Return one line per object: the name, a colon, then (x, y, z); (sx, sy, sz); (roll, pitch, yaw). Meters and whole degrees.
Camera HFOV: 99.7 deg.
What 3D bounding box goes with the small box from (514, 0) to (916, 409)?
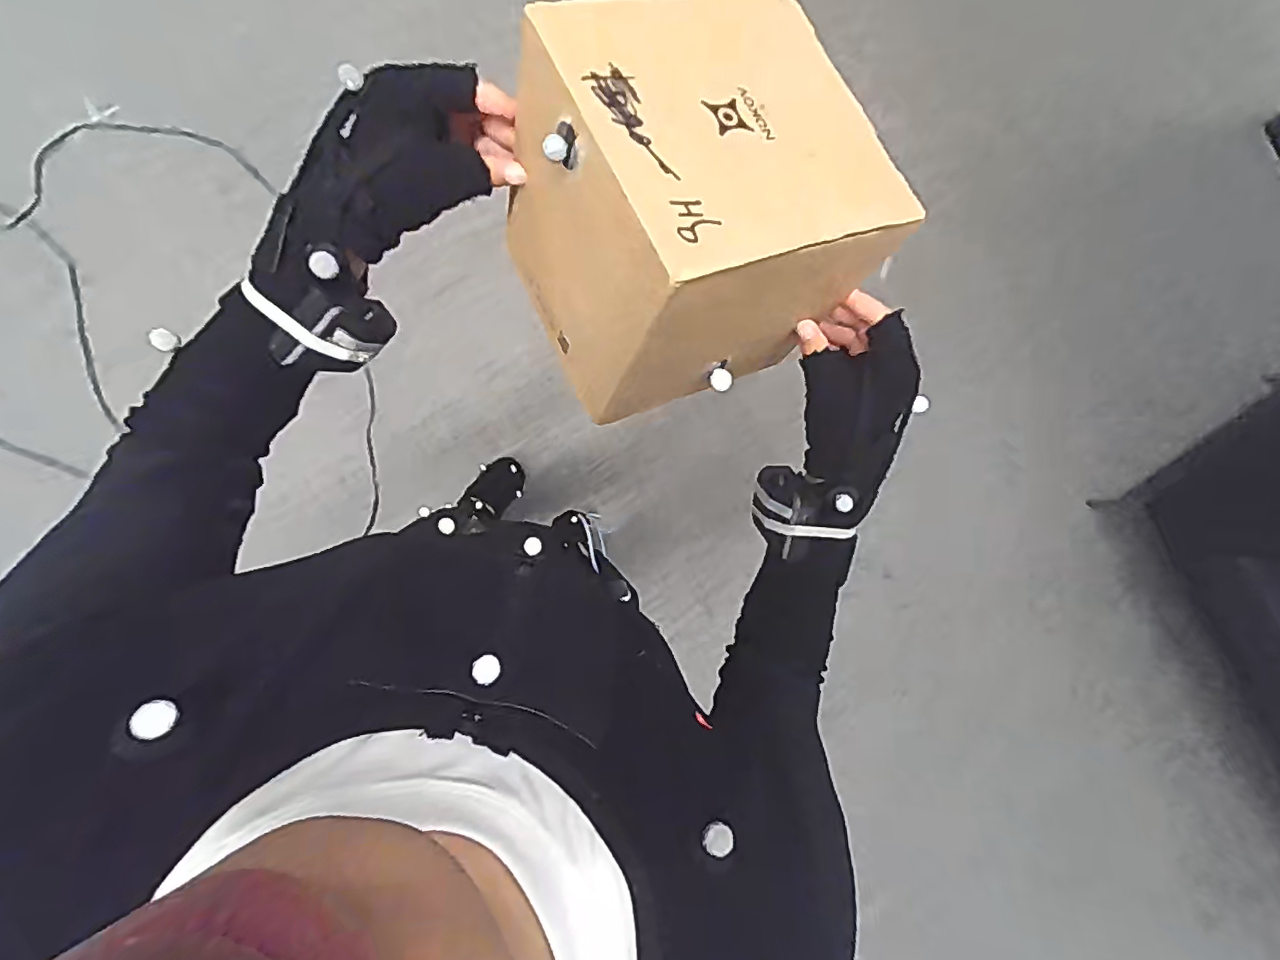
small box: (0.030, -0.172, 0.364); (0.179, 0.176, 0.168); (-23, 80, -23)
